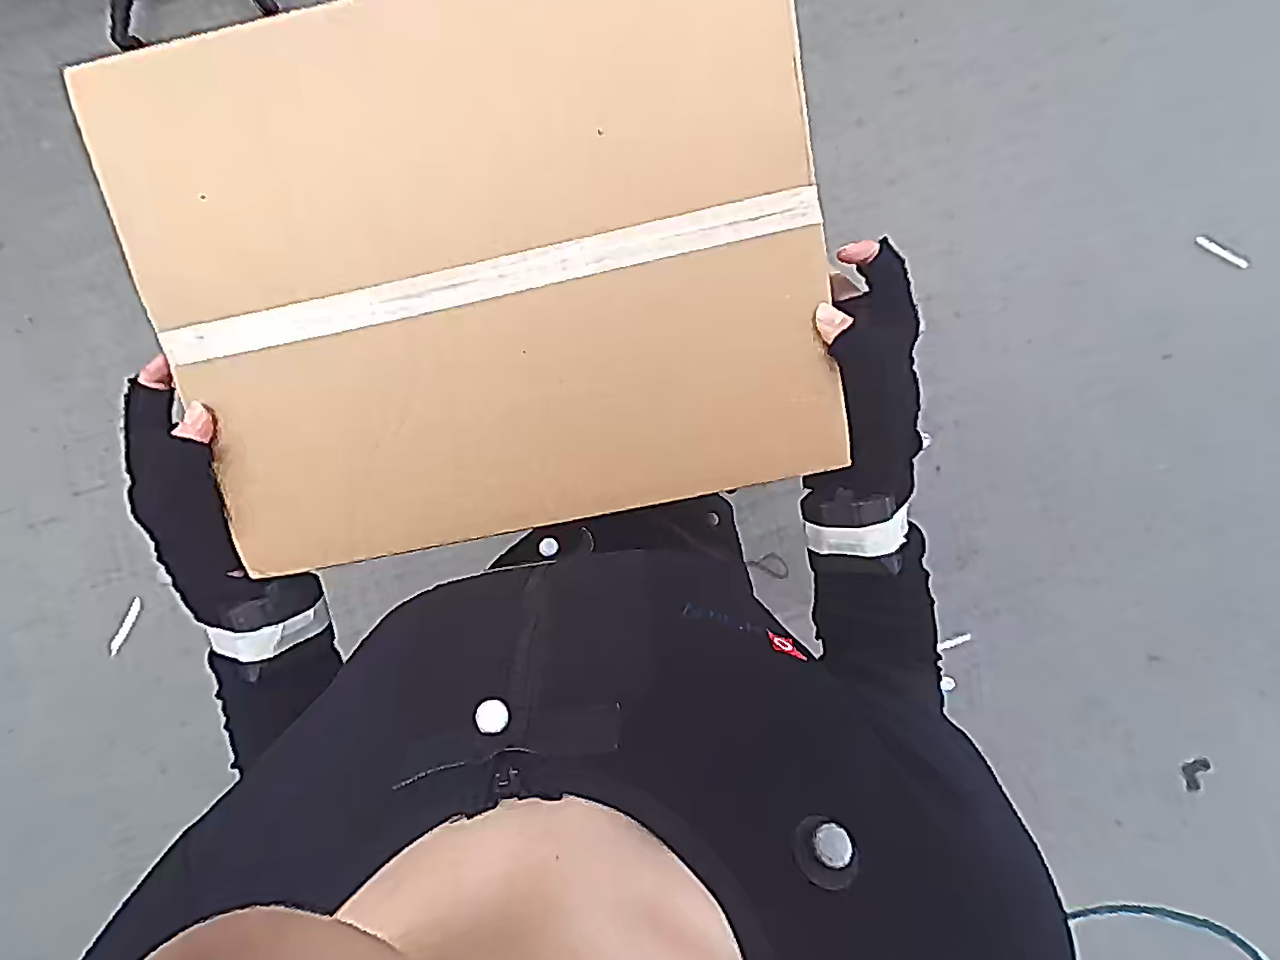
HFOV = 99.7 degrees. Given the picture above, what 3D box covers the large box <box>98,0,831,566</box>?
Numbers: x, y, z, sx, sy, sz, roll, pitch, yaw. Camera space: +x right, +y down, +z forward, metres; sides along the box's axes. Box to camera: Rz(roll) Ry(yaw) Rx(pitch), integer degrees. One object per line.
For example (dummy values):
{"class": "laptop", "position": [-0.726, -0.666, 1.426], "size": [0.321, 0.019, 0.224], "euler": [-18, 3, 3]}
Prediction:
{"class": "large box", "position": [-0.093, -0.157, 0.482], "size": [0.408, 0.320, 0.320], "euler": [-11, 101, 3]}
